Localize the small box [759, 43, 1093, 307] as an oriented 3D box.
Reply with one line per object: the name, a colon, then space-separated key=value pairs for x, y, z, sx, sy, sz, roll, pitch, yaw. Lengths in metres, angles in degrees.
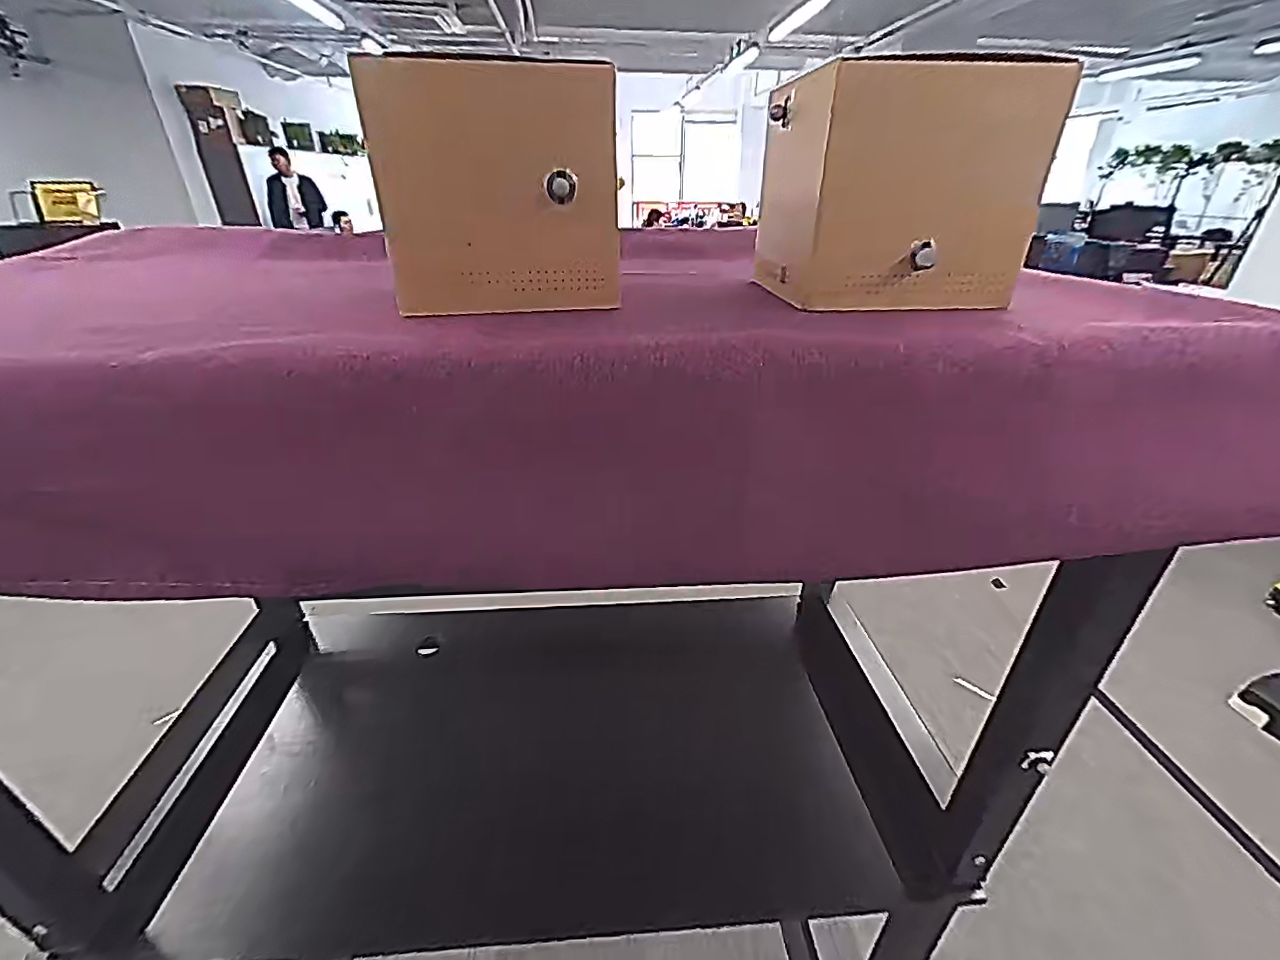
small box: x=0.215 y=-0.250 z=0.465 sx=0.179 sy=0.176 sz=0.168 roll=-1 pitch=28 yaw=-4

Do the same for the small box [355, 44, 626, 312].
small box: x=-0.109 y=-0.246 z=0.461 sx=0.179 sy=0.176 sz=0.168 roll=-5 pitch=29 yaw=-8
